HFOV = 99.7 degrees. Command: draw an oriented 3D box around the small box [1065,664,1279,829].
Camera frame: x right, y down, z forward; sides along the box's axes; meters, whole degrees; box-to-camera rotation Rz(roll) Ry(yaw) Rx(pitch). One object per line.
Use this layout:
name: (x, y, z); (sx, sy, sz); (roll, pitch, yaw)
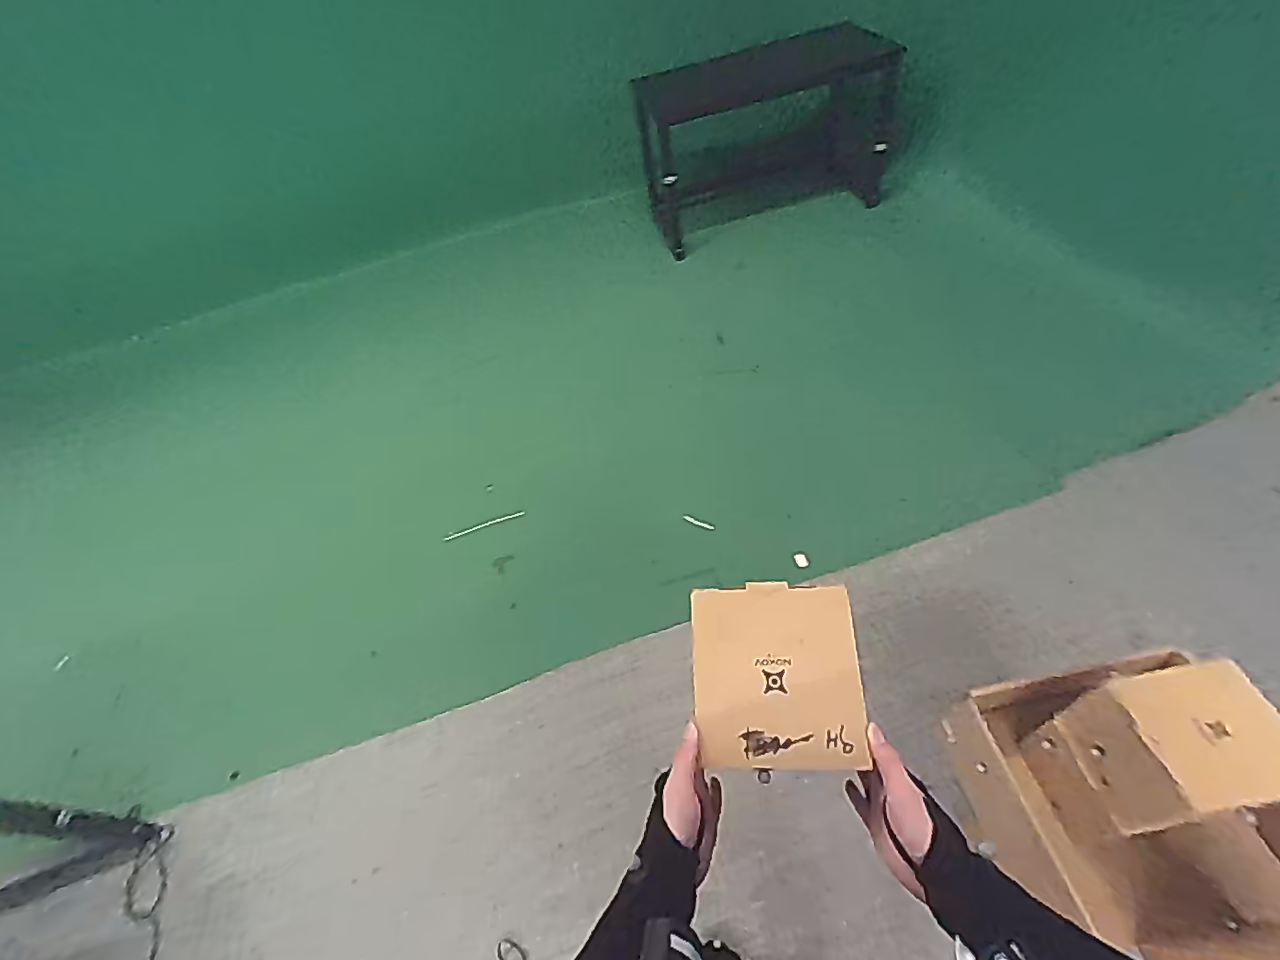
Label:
small box: (0.768, 0.382, 0.768); (0.179, 0.176, 0.168); (-12, 51, 3)

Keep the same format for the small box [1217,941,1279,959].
small box: (0.807, 0.604, 0.579); (0.179, 0.176, 0.168); (-13, 50, 3)

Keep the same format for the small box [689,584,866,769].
small box: (0.144, 0.224, 0.619); (0.168, 0.176, 0.179); (-4, 68, 9)
